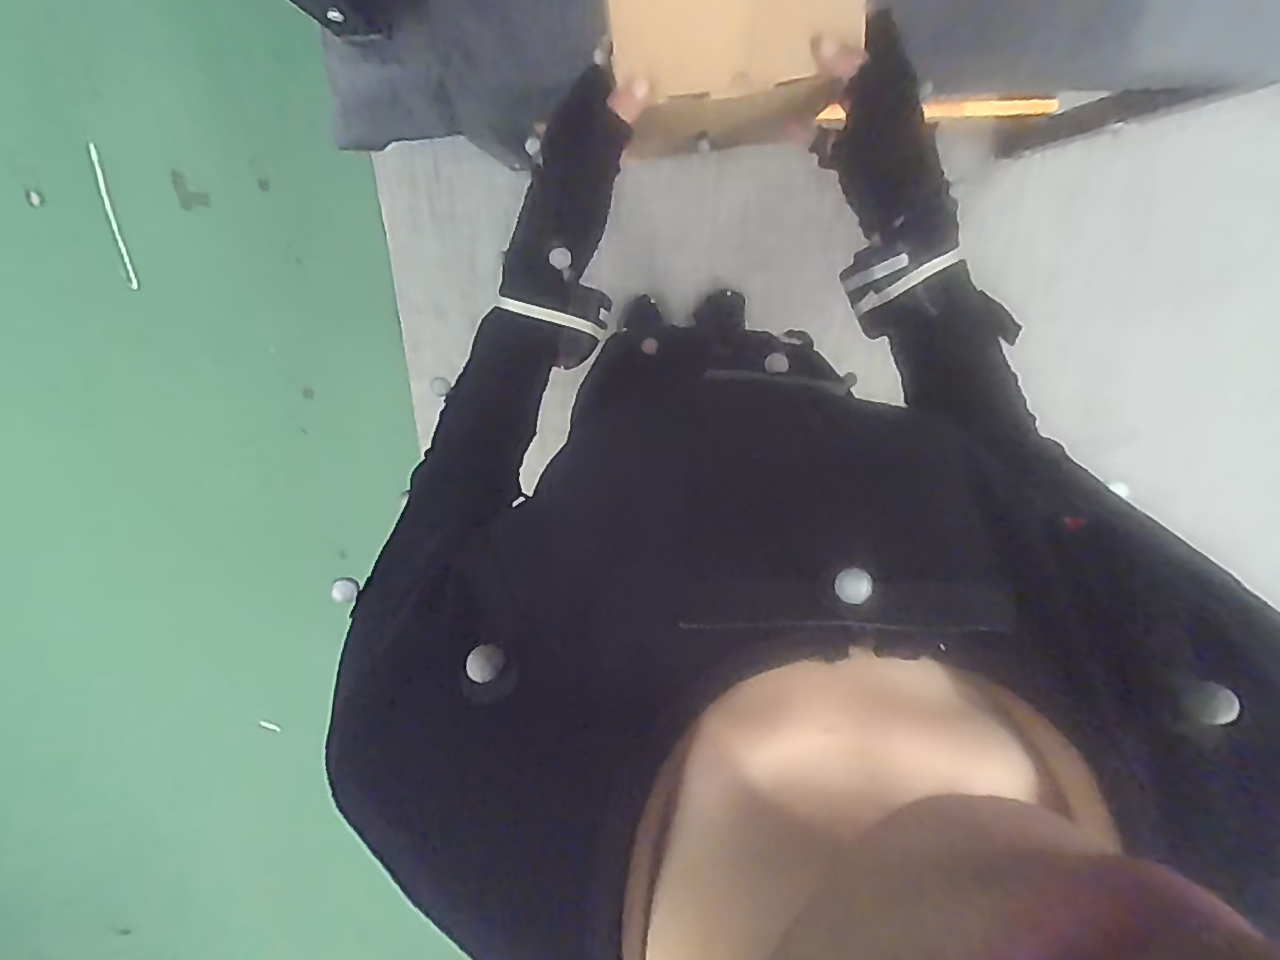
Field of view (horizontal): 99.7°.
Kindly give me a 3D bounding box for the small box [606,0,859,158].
[{"bbox_3d":[0.058,-0.377,0.421,0.168,0.176,0.179,-6,109,2],"label":"small box"}]
